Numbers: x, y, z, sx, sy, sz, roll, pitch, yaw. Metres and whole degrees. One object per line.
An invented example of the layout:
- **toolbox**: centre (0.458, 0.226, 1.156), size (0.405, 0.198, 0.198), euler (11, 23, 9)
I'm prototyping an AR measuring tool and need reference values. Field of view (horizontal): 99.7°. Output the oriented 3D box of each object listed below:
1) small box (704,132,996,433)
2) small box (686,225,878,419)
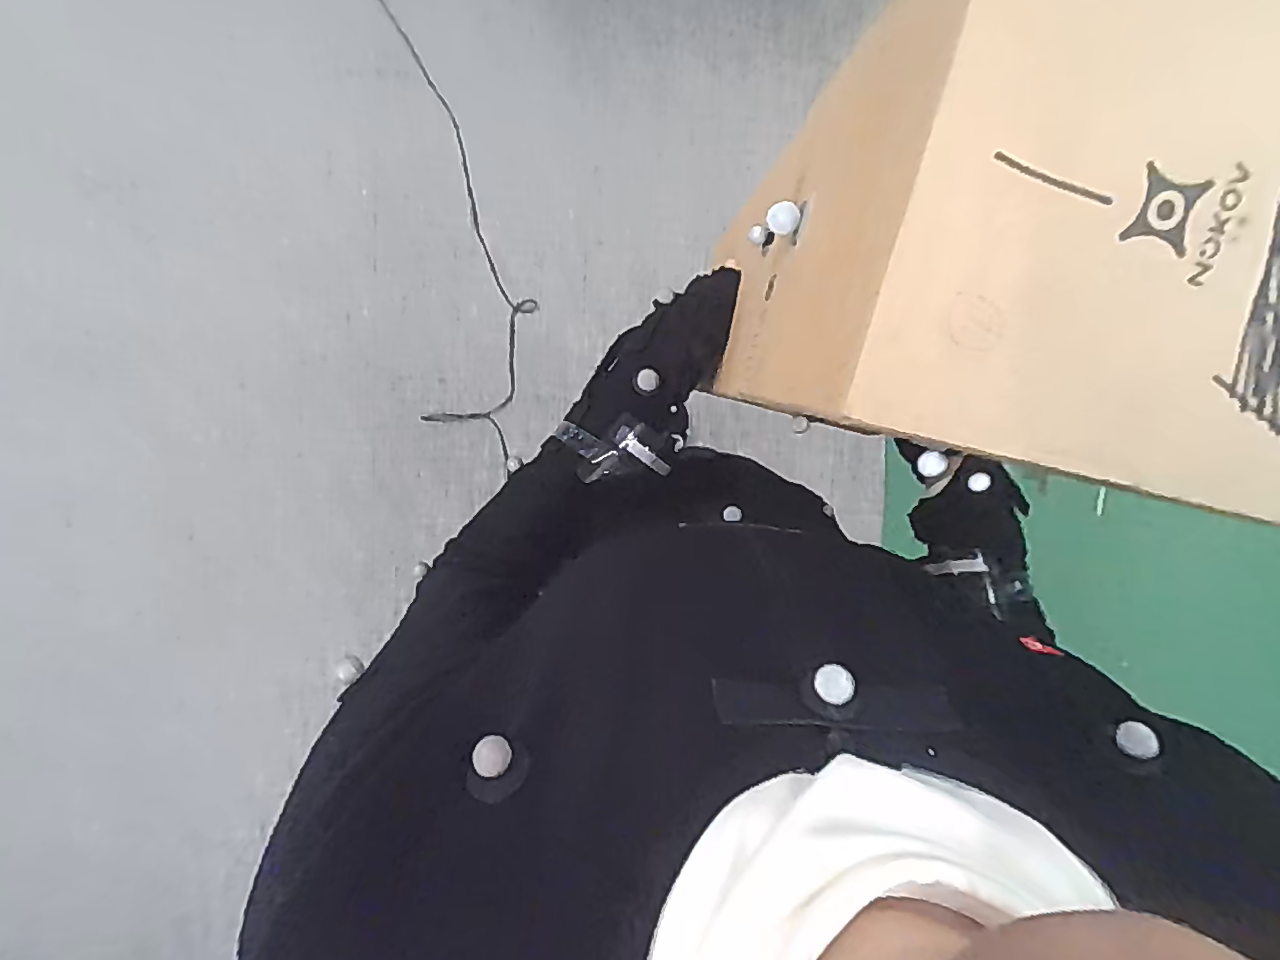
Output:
- **small box**: centre (0.162, -0.141, 0.404), size (0.179, 0.176, 0.168), euler (12, 100, -6)
- **small box**: centre (0.156, -0.169, 0.566), size (0.179, 0.176, 0.168), euler (12, 100, -4)
